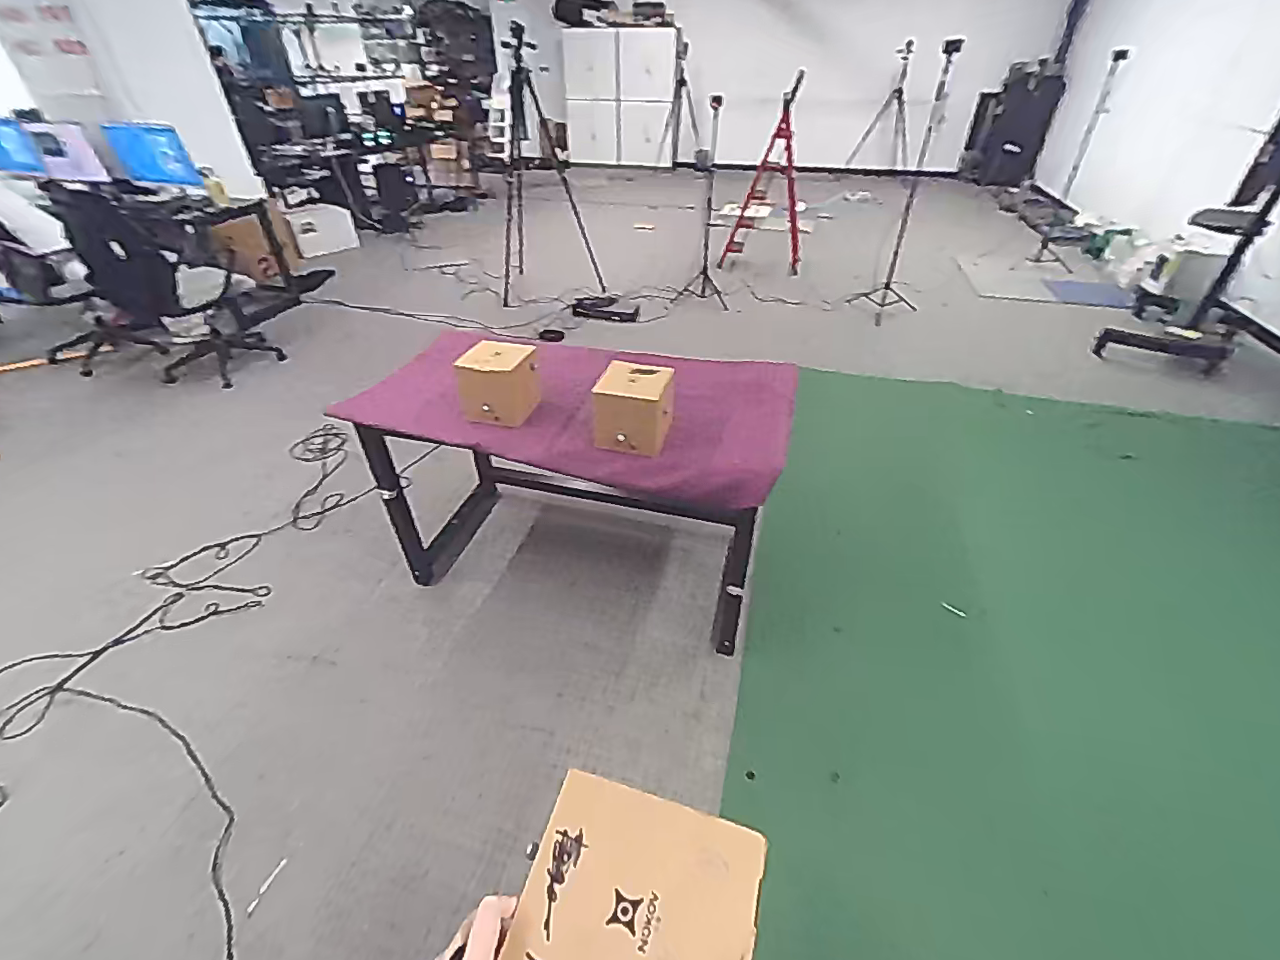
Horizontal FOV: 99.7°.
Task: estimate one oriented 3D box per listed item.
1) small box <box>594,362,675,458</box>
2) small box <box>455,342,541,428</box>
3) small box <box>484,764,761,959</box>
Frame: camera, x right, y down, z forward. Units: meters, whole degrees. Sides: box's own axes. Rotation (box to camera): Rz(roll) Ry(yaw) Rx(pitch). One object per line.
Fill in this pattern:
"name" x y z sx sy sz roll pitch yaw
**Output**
"small box" -0.012 -0.181 1.389 0.168 0.176 0.179 10 39 13
"small box" -0.382 -0.264 1.497 0.168 0.176 0.179 8 37 12
"small box" -0.012 0.372 0.449 0.179 0.176 0.168 13 46 12
